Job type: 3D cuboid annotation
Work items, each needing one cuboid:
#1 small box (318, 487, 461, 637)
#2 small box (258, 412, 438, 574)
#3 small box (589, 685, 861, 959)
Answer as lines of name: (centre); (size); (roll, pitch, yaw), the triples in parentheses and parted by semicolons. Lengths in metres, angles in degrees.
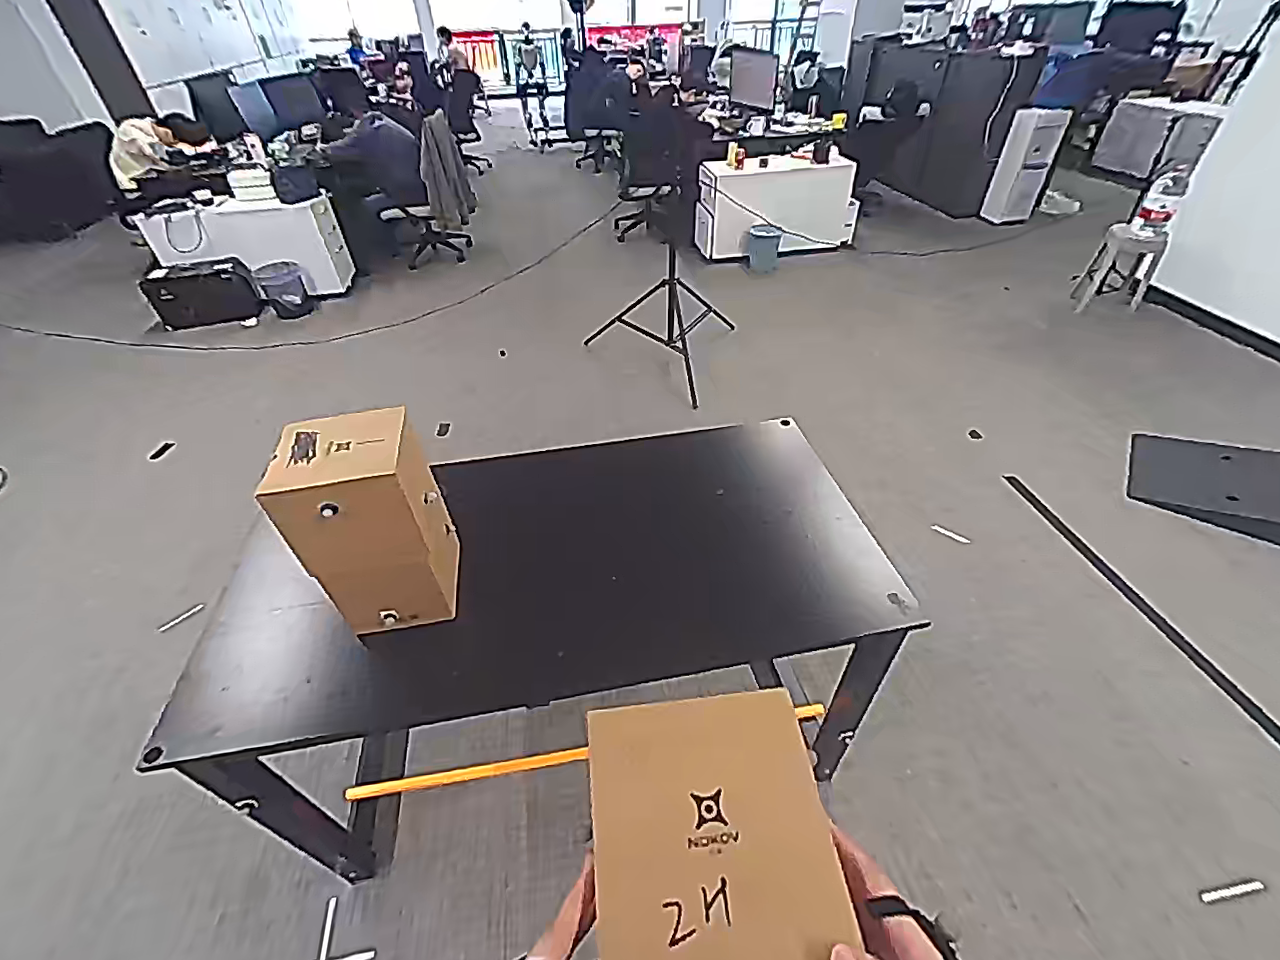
small box: (-0.416, 0.140, 0.932); (0.168, 0.176, 0.179); (-10, 43, -7)
small box: (-0.423, 0.021, 0.818); (0.179, 0.176, 0.168); (-10, 42, -9)
small box: (0.048, 0.293, 0.442); (0.168, 0.176, 0.179); (-6, 48, -3)
